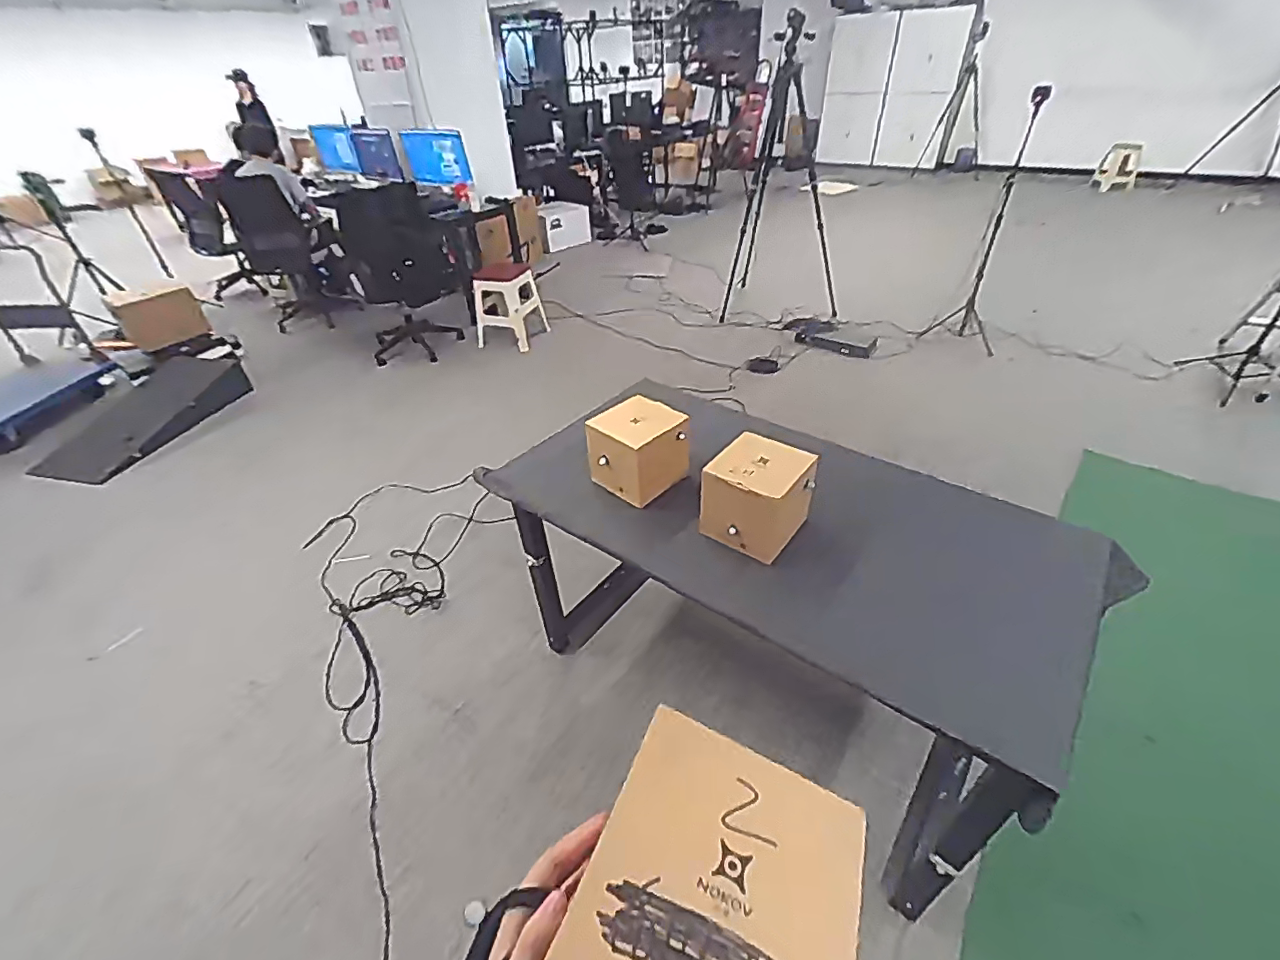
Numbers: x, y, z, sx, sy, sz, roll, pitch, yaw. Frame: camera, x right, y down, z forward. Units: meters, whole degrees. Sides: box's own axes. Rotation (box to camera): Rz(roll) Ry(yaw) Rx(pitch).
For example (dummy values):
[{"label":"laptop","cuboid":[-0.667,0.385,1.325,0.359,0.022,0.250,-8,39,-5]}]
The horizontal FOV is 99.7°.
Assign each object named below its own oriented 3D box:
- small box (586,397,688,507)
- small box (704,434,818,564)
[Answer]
[{"label":"small box","cuboid":[-0.003,-0.065,1.259,0.168,0.176,0.179,29,47,34]},{"label":"small box","cuboid":[0.240,0.036,1.110,0.168,0.176,0.179,24,44,31]}]
